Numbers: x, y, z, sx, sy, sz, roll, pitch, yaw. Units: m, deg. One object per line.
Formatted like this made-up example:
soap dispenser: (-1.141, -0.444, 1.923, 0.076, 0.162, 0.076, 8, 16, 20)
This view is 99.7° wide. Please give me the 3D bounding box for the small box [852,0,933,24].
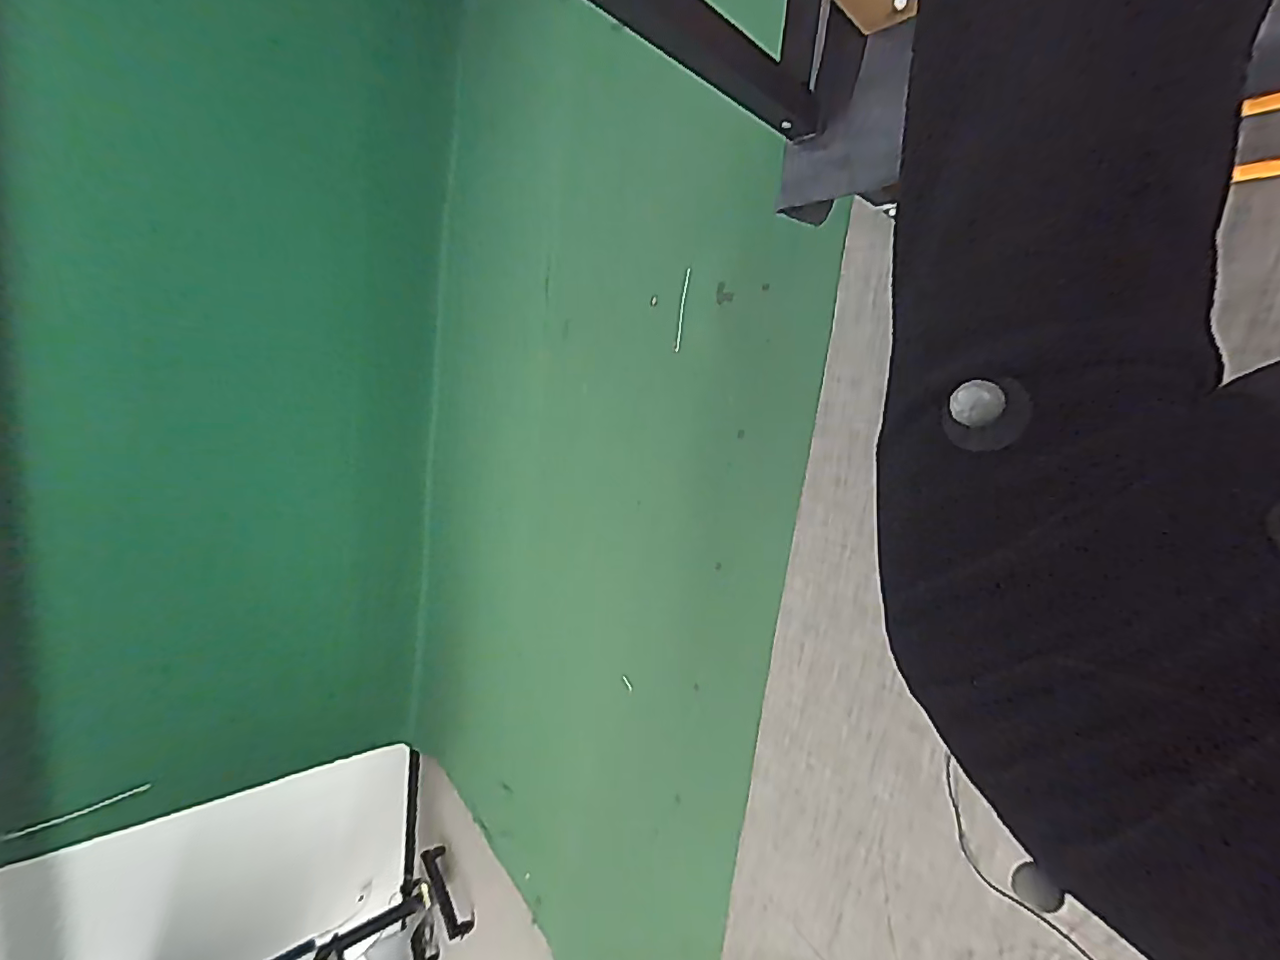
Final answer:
small box: (0.343, -0.742, 0.682, 0.168, 0.176, 0.179, 17, 104, 47)
